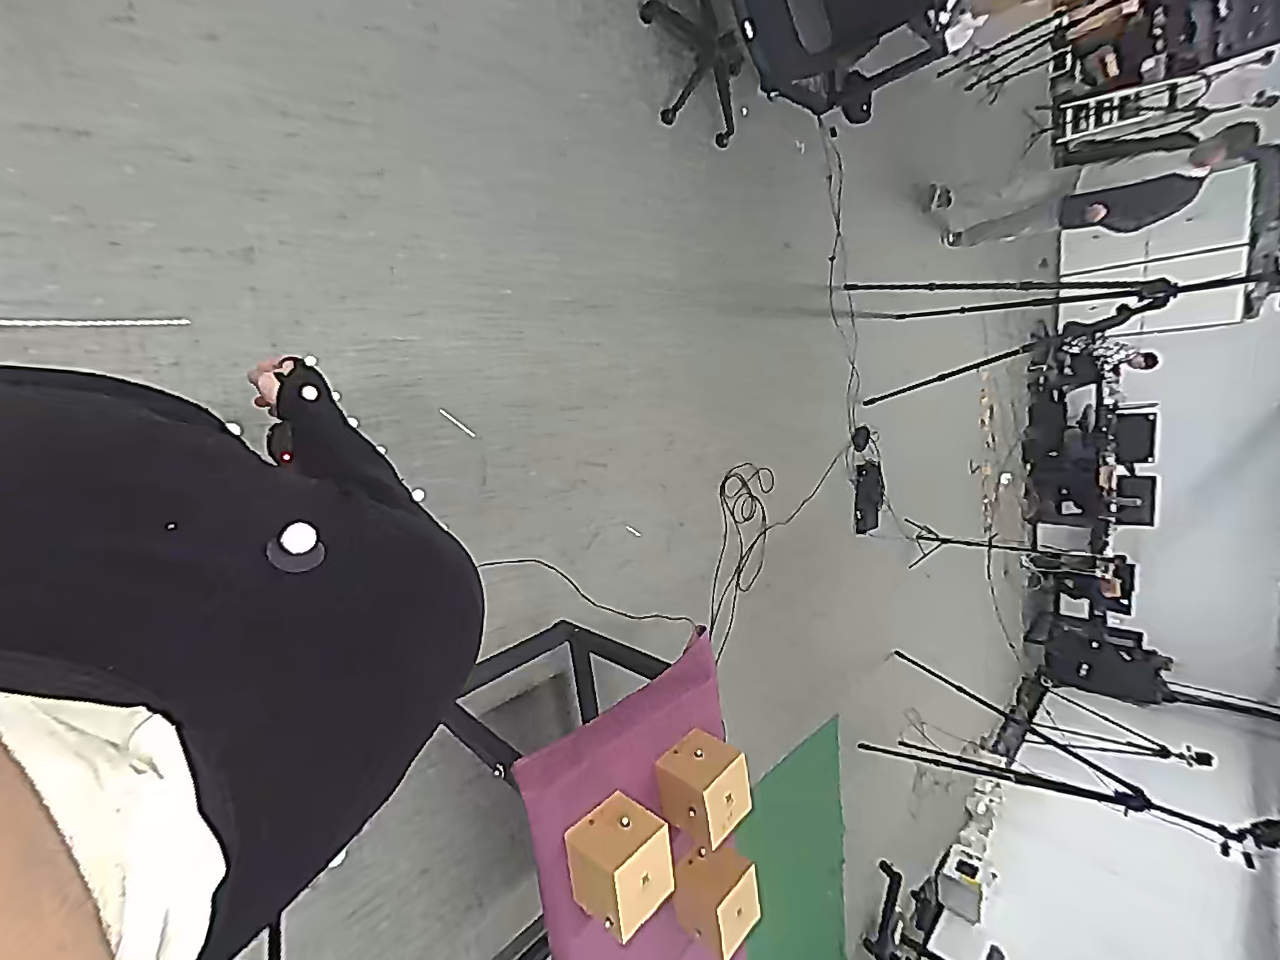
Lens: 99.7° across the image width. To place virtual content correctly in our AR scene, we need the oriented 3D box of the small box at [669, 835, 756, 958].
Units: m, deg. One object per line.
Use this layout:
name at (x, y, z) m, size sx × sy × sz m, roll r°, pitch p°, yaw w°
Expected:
small box at (0.193, 1.114, 1.468) m, size 0.168 × 0.176 × 0.179 m, roll -18°, pitch 105°, yaw -42°

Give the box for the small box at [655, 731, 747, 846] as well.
small box at (0.156, 0.784, 1.404) m, size 0.168 × 0.176 × 0.179 m, roll -20°, pitch 107°, yaw -40°

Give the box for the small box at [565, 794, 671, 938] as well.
small box at (-0.052, 0.843, 1.210) m, size 0.168 × 0.176 × 0.179 m, roll -16°, pitch 105°, yaw -44°
